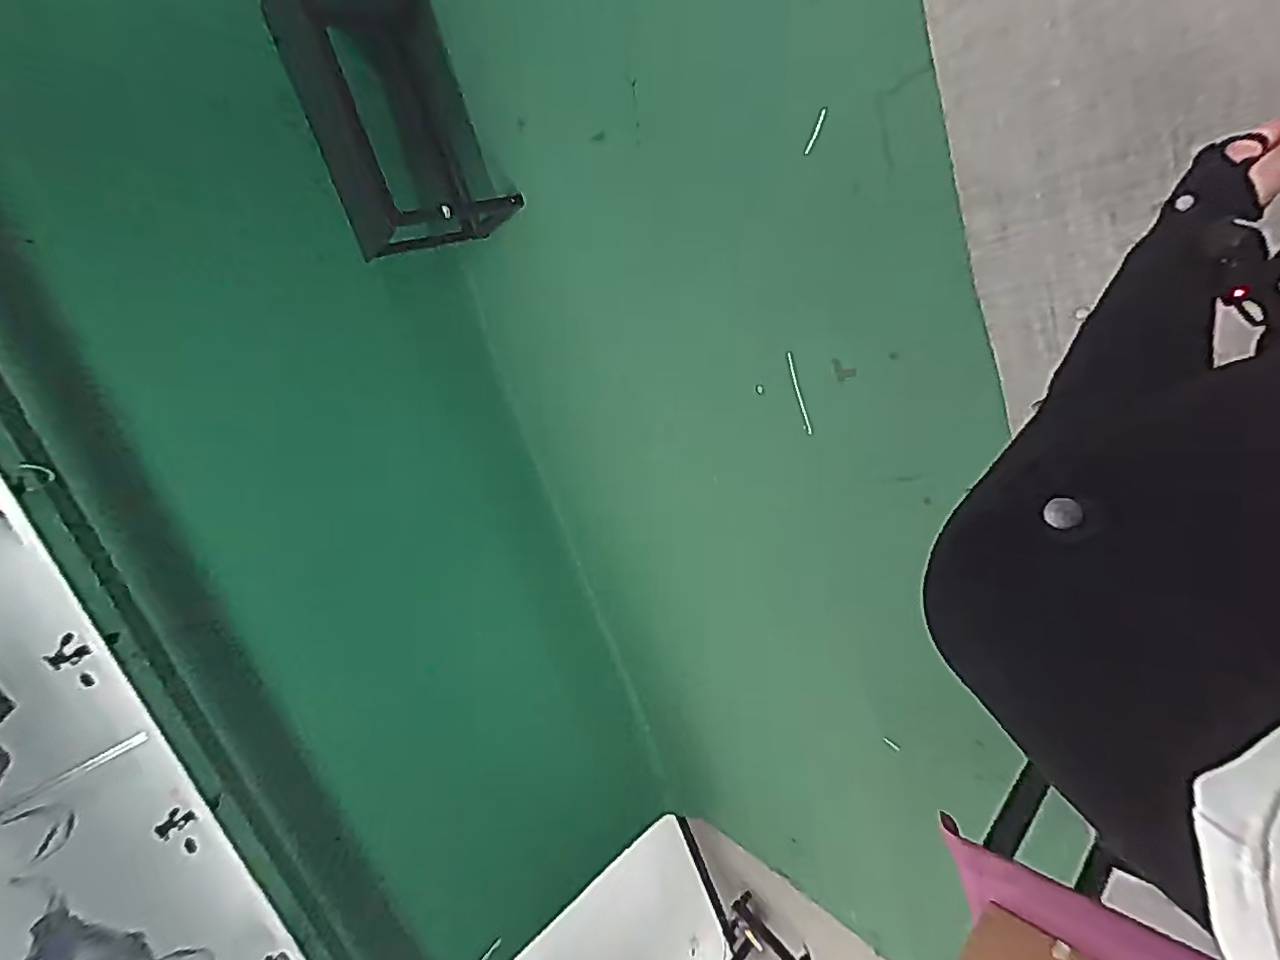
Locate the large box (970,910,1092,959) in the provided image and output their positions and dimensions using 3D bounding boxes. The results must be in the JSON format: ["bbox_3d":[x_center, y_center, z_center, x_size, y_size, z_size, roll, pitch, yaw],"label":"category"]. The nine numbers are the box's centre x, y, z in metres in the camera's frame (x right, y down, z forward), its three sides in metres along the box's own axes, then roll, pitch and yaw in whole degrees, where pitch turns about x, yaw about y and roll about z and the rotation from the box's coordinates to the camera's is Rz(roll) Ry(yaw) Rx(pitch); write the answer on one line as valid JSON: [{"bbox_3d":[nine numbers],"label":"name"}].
[{"bbox_3d":[0.866,1.229,1.093,0.320,0.320,0.408,-3,110,54],"label":"large box"}]
